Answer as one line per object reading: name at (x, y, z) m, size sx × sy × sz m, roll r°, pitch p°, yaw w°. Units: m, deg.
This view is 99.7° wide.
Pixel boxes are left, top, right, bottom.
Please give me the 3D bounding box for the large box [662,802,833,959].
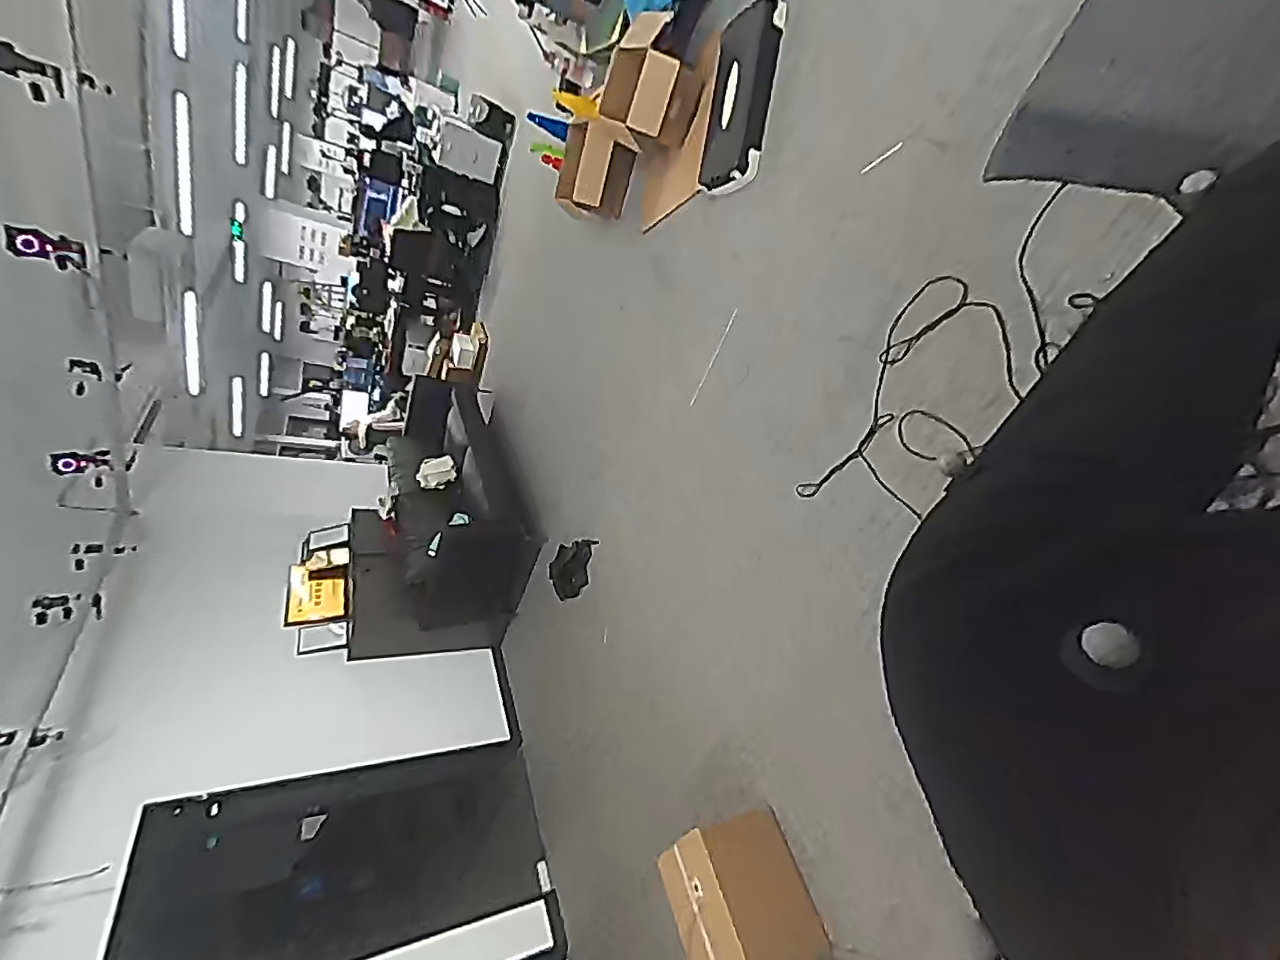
large box at (0.326, 1.328, 1.727) m, size 0.320 × 0.320 × 0.408 m, roll -60°, pitch 38°, yaw 34°
